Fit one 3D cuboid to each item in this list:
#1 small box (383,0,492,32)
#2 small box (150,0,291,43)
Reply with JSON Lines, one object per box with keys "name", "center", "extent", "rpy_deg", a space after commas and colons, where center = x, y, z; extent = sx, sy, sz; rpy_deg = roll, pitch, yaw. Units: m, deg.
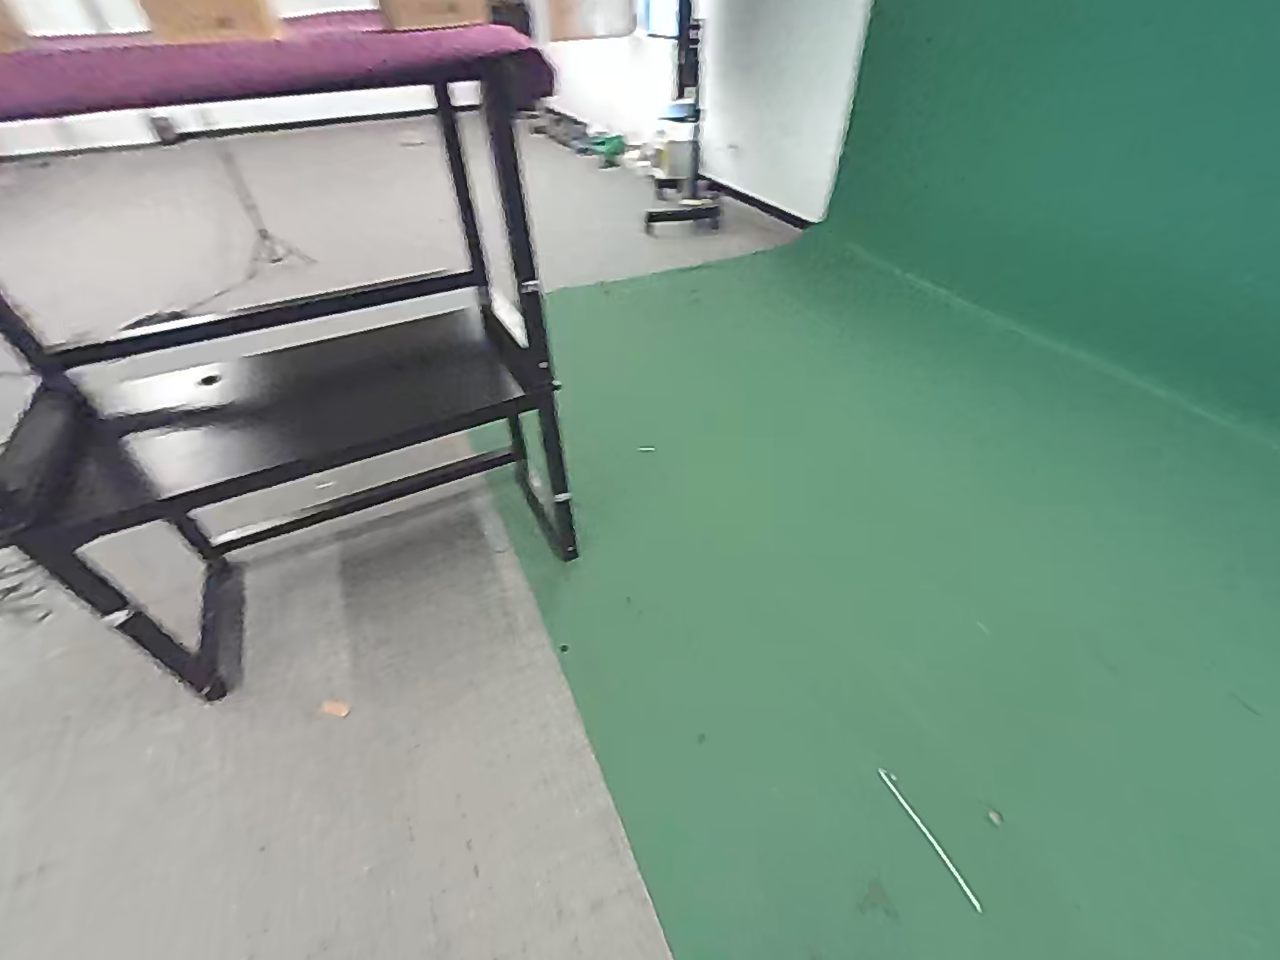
{"name": "small box", "center": [-0.377, -0.916, 0.965], "extent": [0.168, 0.176, 0.179], "rpy_deg": [-20, 43, -19]}
{"name": "small box", "center": [-0.680, -0.804, 0.852], "extent": [0.168, 0.176, 0.179], "rpy_deg": [-15, 42, -15]}
